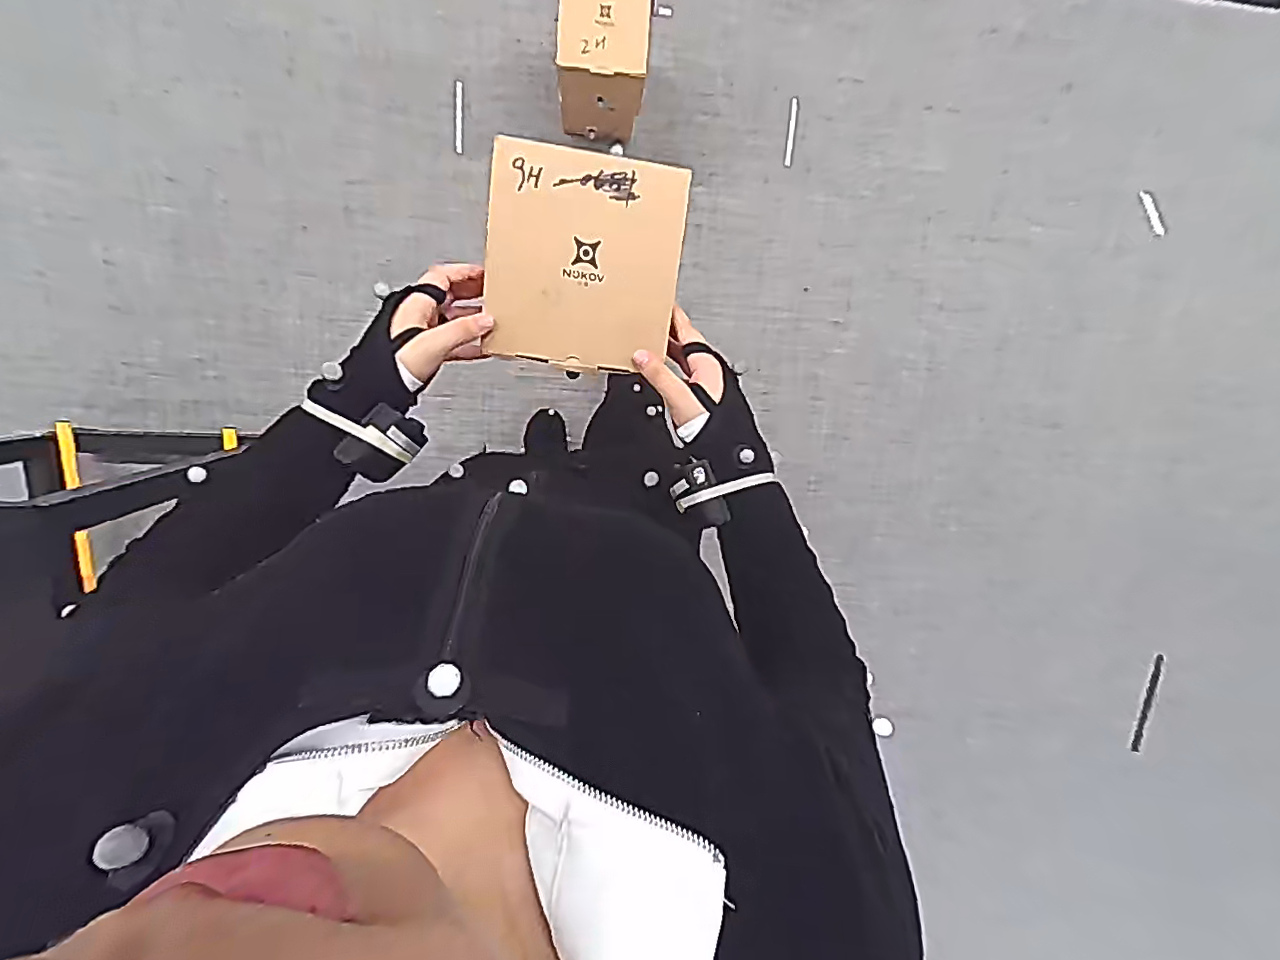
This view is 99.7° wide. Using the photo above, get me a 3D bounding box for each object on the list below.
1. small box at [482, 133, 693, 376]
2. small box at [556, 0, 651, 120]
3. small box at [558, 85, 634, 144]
[{"bbox_3d":[-0.054,-0.208,0.540,0.168,0.176,0.179,6,104,-7],"label":"small box"},{"bbox_3d":[-0.072,-0.839,1.047,0.168,0.176,0.179,4,102,-5],"label":"small box"},{"bbox_3d":[-0.092,-0.884,1.205,0.168,0.176,0.179,3,103,-5],"label":"small box"}]
